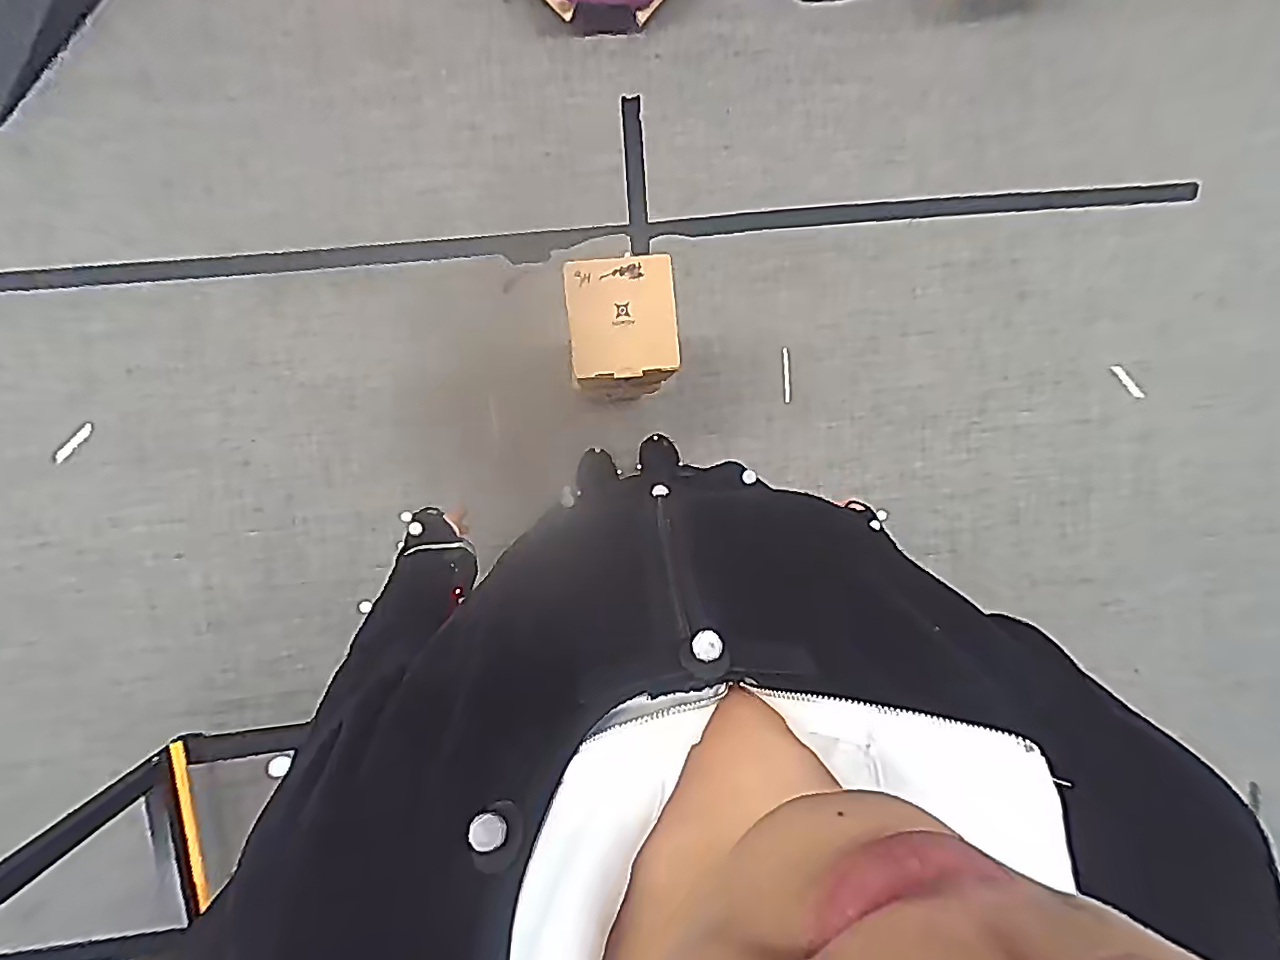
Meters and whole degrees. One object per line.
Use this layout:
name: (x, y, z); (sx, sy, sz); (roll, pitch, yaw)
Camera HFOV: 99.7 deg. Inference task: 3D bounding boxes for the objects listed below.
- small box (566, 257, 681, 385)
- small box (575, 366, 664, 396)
small box: (-0.027, -0.253, 0.901); (0.168, 0.176, 0.179); (-6, 96, -3)
small box: (-0.043, -0.259, 1.064); (0.168, 0.176, 0.179); (-2, 96, -3)
